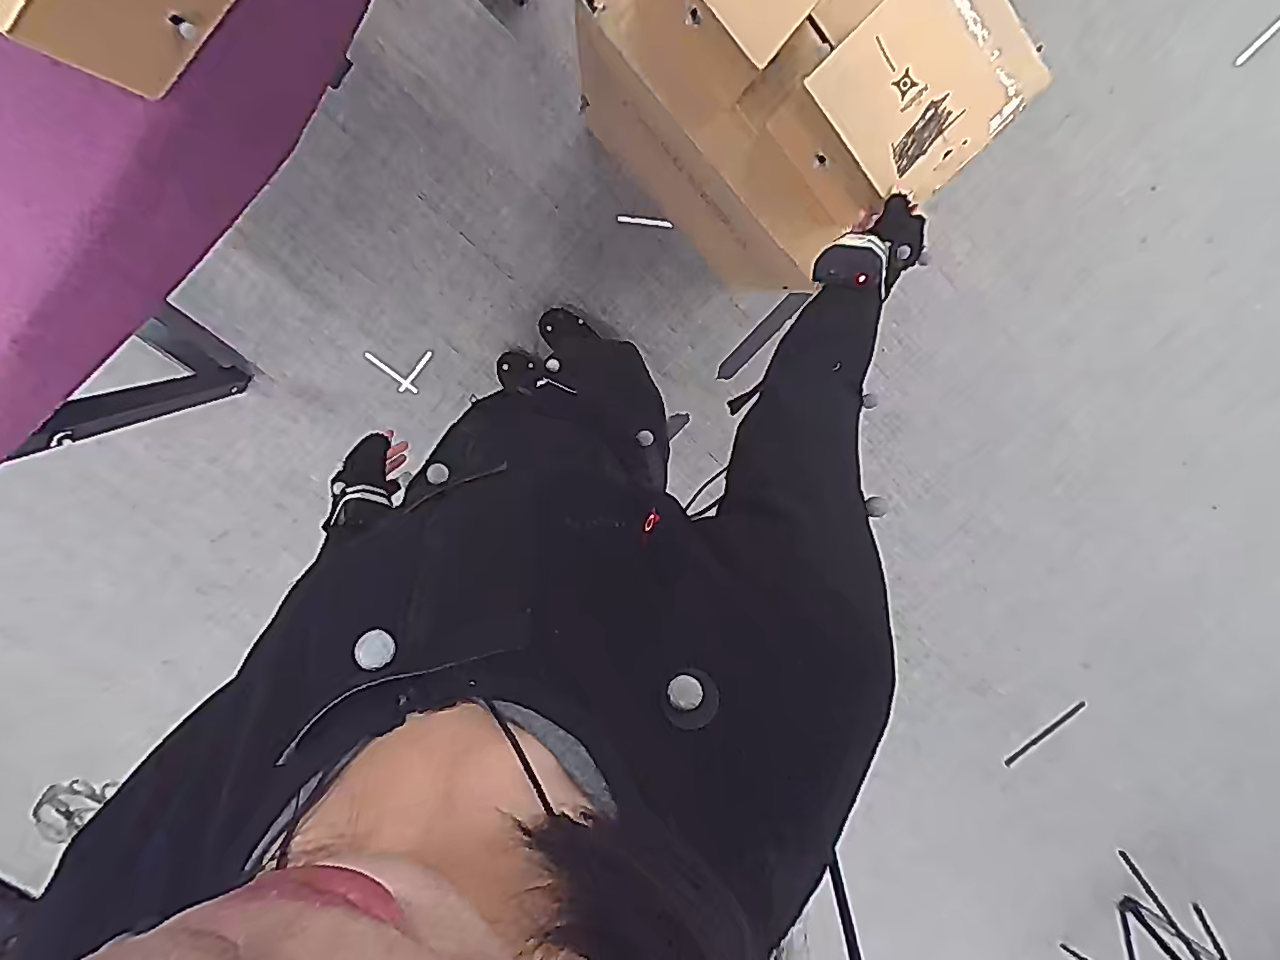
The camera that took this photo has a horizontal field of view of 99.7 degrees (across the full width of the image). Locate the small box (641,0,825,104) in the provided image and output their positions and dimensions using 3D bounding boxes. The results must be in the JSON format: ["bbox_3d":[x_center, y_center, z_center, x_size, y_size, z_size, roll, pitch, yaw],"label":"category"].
[{"bbox_3d":[0.116,-0.579,0.615,0.179,0.176,0.168,41,103,-17],"label":"small box"}]

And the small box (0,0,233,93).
[{"bbox_3d":[-0.511,-0.502,0.479,0.179,0.176,0.168,-42,106,9],"label":"small box"}]

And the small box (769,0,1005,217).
[{"bbox_3d":[0.289,-0.453,0.670,0.168,0.176,0.179,-42,105,12],"label":"small box"}]
